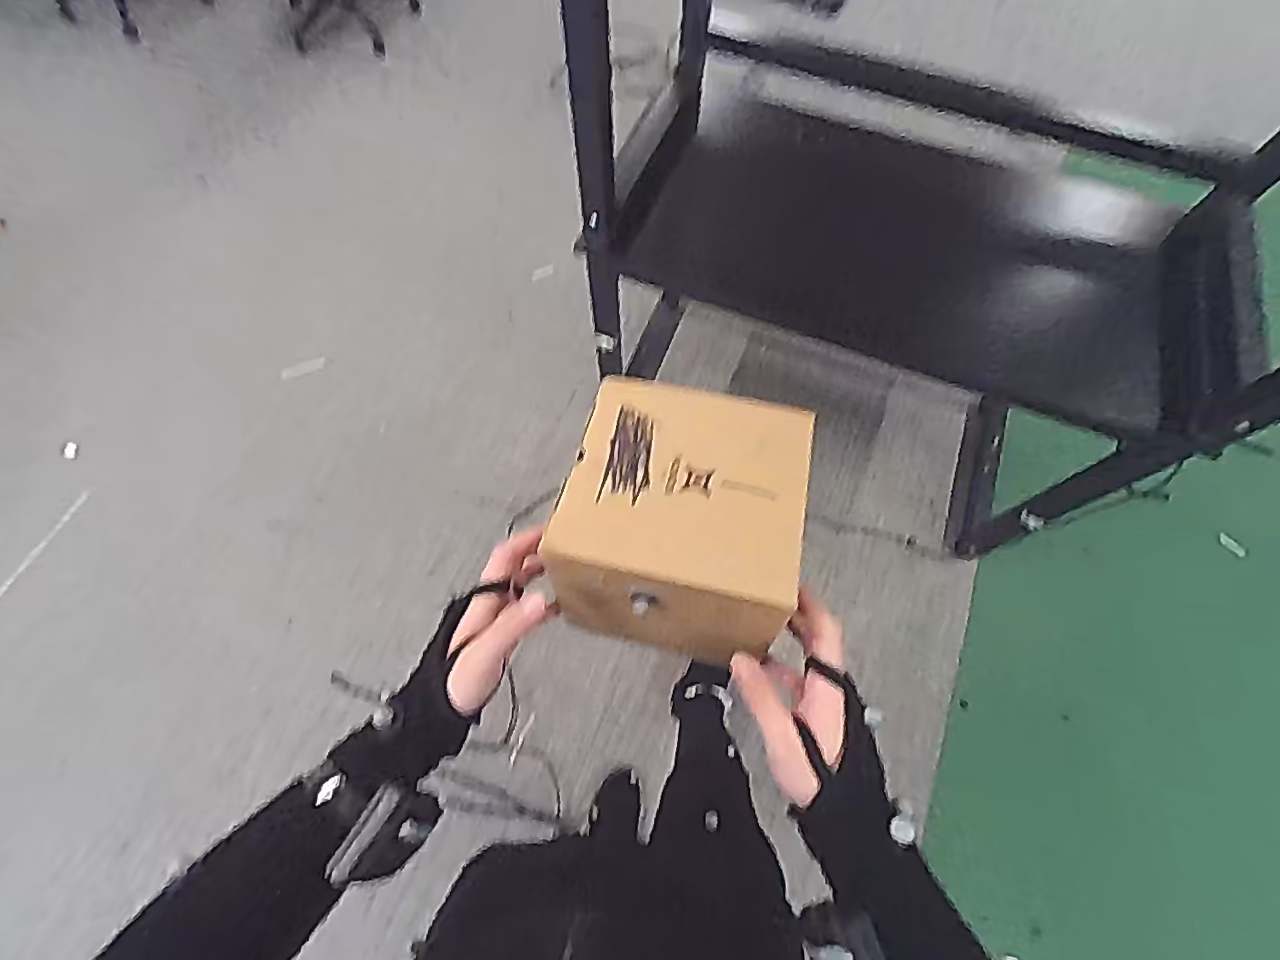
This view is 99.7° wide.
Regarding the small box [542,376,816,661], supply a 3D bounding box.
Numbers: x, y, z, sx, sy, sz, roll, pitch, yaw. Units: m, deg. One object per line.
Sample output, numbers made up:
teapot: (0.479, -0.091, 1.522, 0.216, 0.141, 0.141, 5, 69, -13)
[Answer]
small box: (0.036, 0.039, 0.463, 0.179, 0.176, 0.168, 12, 58, 8)
